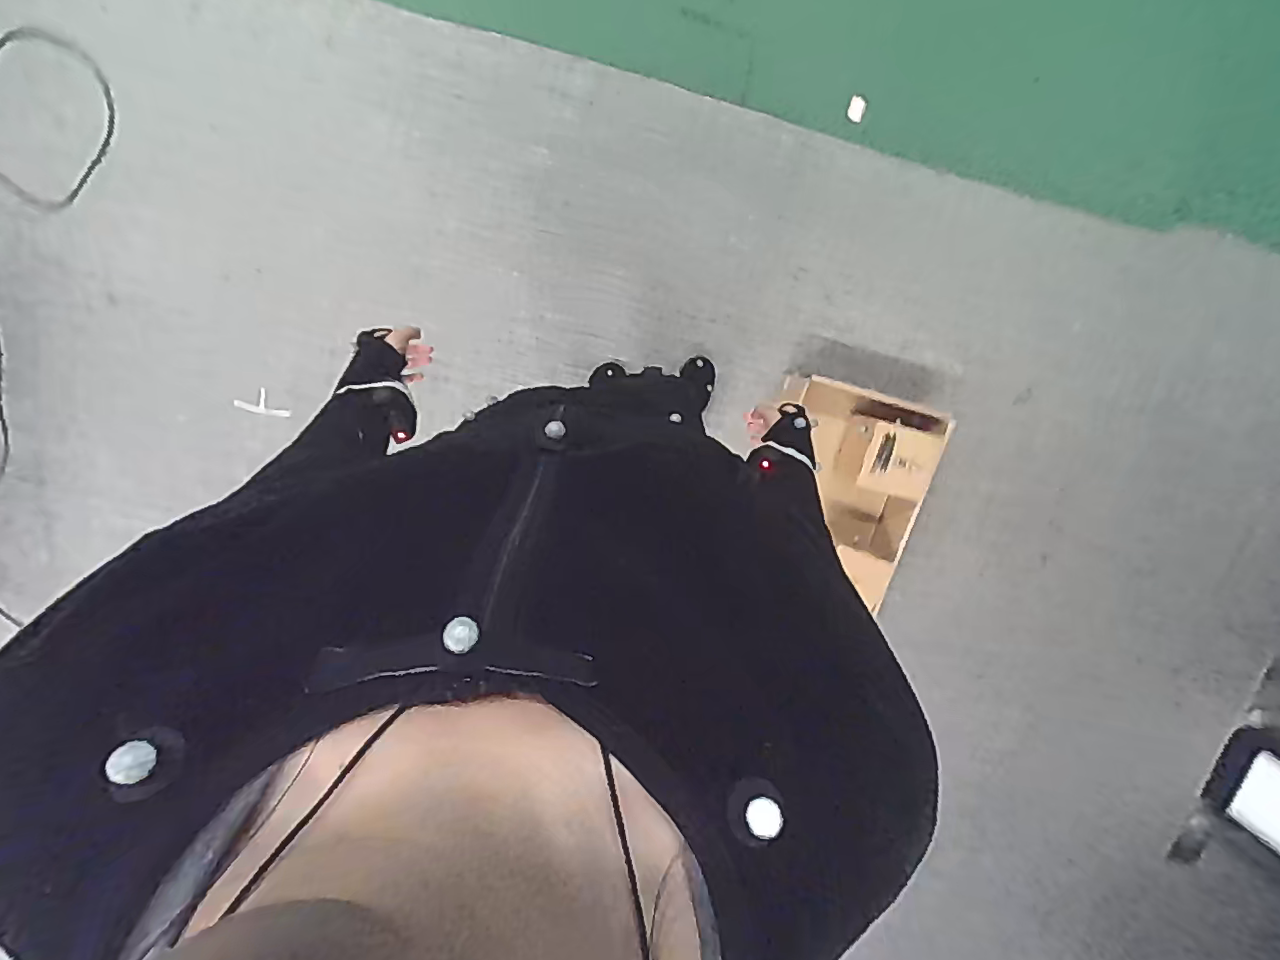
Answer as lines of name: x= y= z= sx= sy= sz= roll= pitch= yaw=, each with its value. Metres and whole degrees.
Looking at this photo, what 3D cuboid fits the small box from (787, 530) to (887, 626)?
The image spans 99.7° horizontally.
small box: x=0.522 y=0.257 z=1.465 sx=0.168 sy=0.176 sz=0.179 roll=24 pitch=100 yaw=-6
